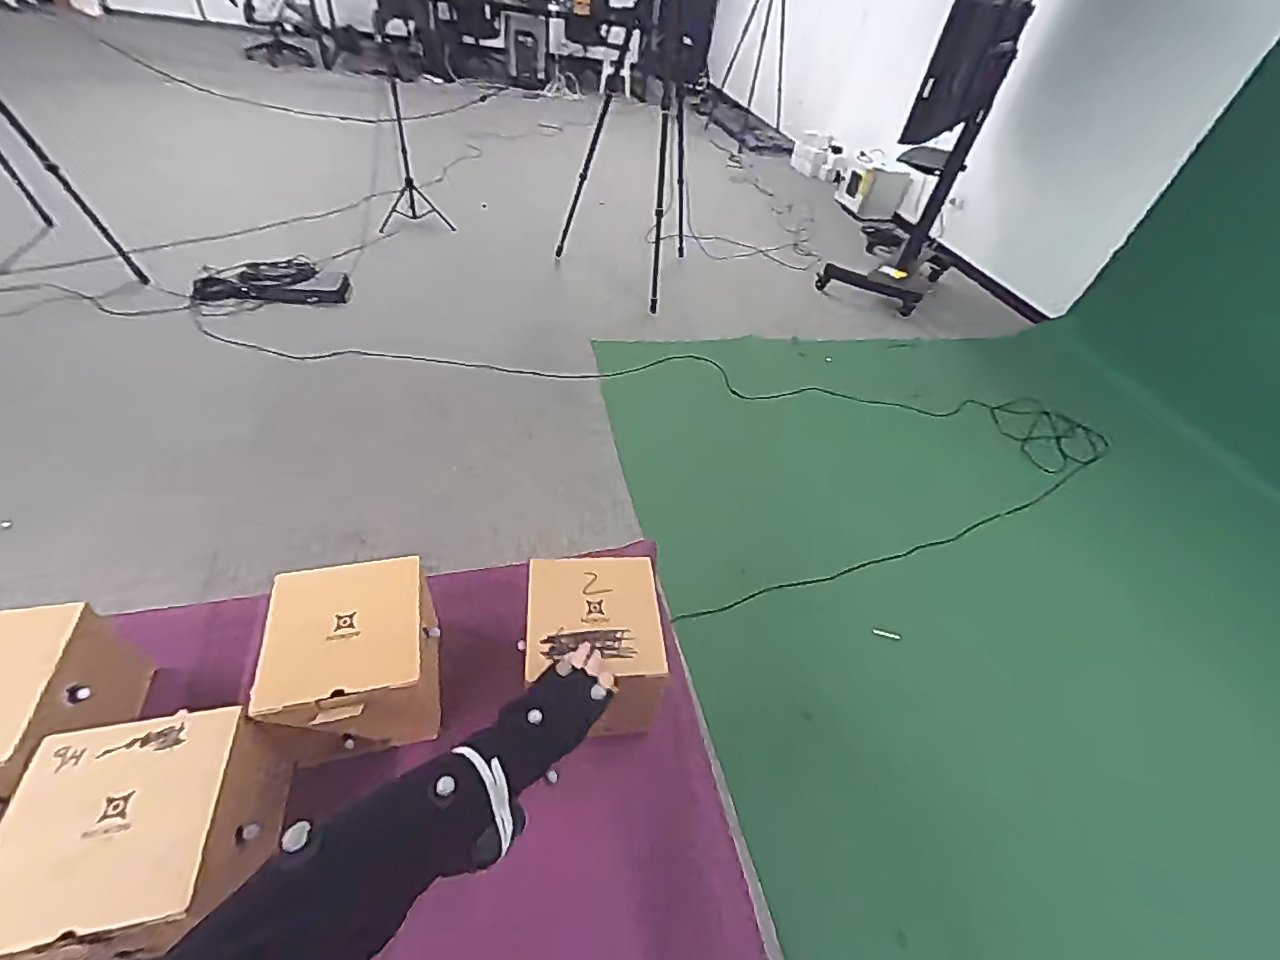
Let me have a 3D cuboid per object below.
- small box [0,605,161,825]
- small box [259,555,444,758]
[{"bbox_3d":[-0.682,0.264,0.593,0.168,0.176,0.179,-5,47,-15],"label":"small box"},{"bbox_3d":[-0.348,0.223,0.689,0.168,0.176,0.179,-7,49,-16],"label":"small box"}]
